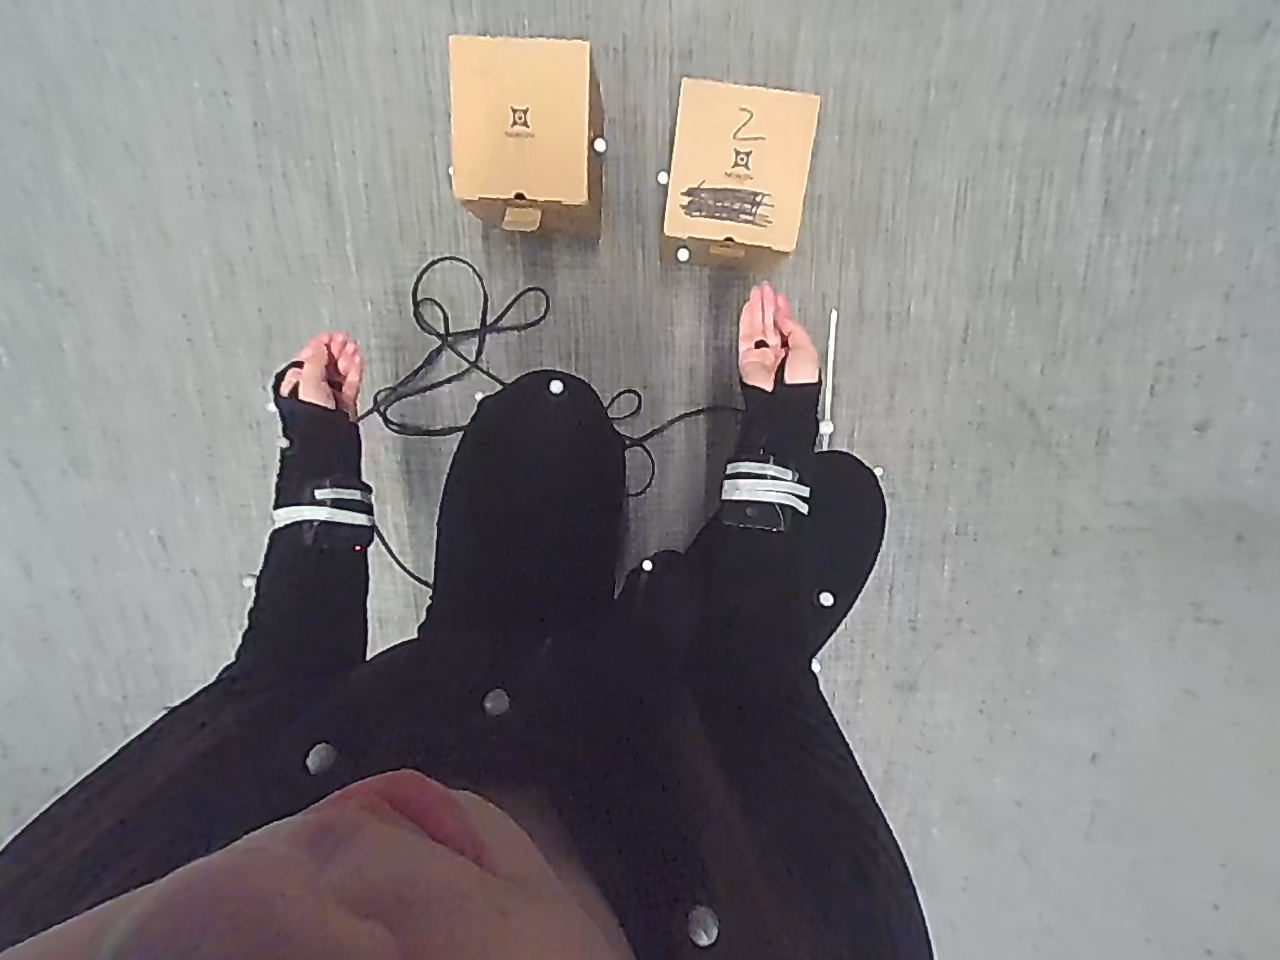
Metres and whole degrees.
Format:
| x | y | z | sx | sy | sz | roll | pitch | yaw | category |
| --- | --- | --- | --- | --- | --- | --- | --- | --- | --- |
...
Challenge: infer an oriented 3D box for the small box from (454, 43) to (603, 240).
| x | y | z | sx | sy | sz | roll | pitch | yaw | category |
| --- | --- | --- | --- | --- | --- | --- | --- | --- | --- |
| -0.140 | -0.437 | 0.726 | 0.168 | 0.176 | 0.179 | 3 | 103 | 1 | small box |
